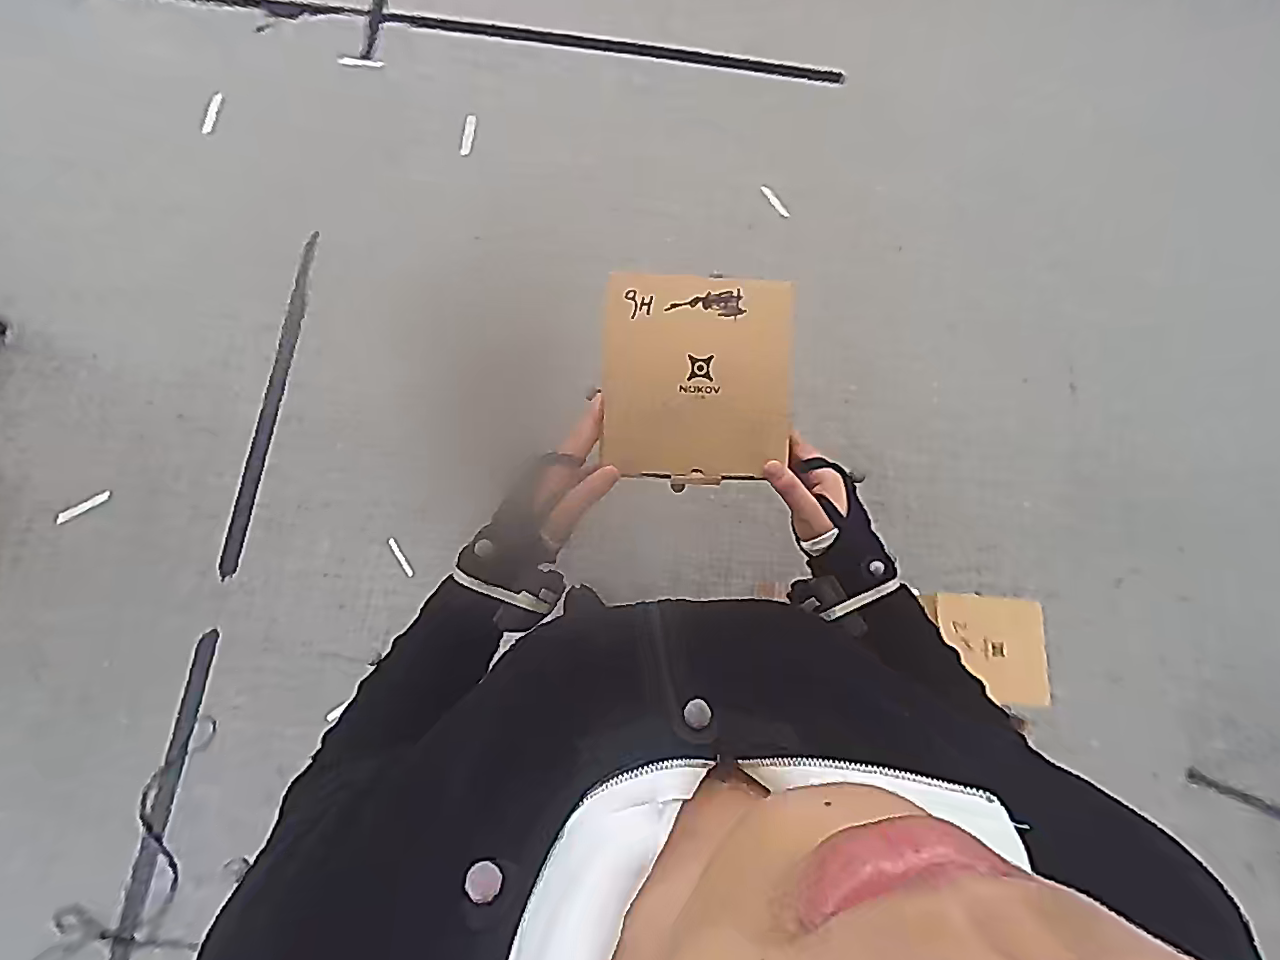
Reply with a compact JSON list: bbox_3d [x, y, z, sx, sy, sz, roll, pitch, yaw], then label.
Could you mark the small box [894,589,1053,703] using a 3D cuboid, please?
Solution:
[{"bbox_3d":[0.569,0.282,0.943,0.179,0.176,0.168,5,77,1],"label":"small box"}]
